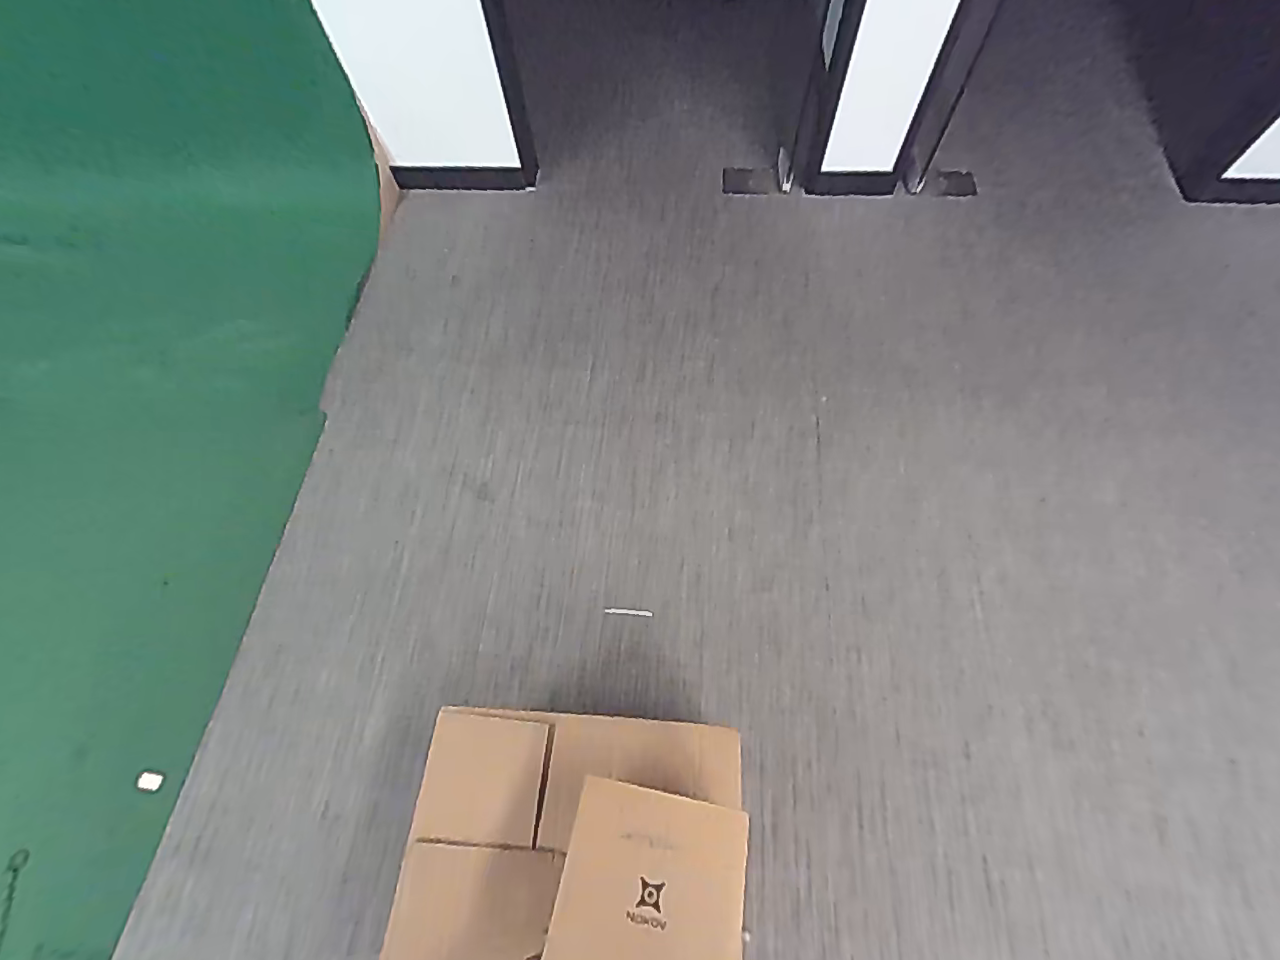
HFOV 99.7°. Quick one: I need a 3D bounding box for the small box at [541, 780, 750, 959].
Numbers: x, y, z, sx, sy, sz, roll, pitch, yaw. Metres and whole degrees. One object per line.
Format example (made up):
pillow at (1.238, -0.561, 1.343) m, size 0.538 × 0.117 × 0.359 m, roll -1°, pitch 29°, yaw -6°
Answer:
small box at (0.009, 0.430, 0.534) m, size 0.168 × 0.176 × 0.179 m, roll 9°, pitch 48°, yaw 8°
